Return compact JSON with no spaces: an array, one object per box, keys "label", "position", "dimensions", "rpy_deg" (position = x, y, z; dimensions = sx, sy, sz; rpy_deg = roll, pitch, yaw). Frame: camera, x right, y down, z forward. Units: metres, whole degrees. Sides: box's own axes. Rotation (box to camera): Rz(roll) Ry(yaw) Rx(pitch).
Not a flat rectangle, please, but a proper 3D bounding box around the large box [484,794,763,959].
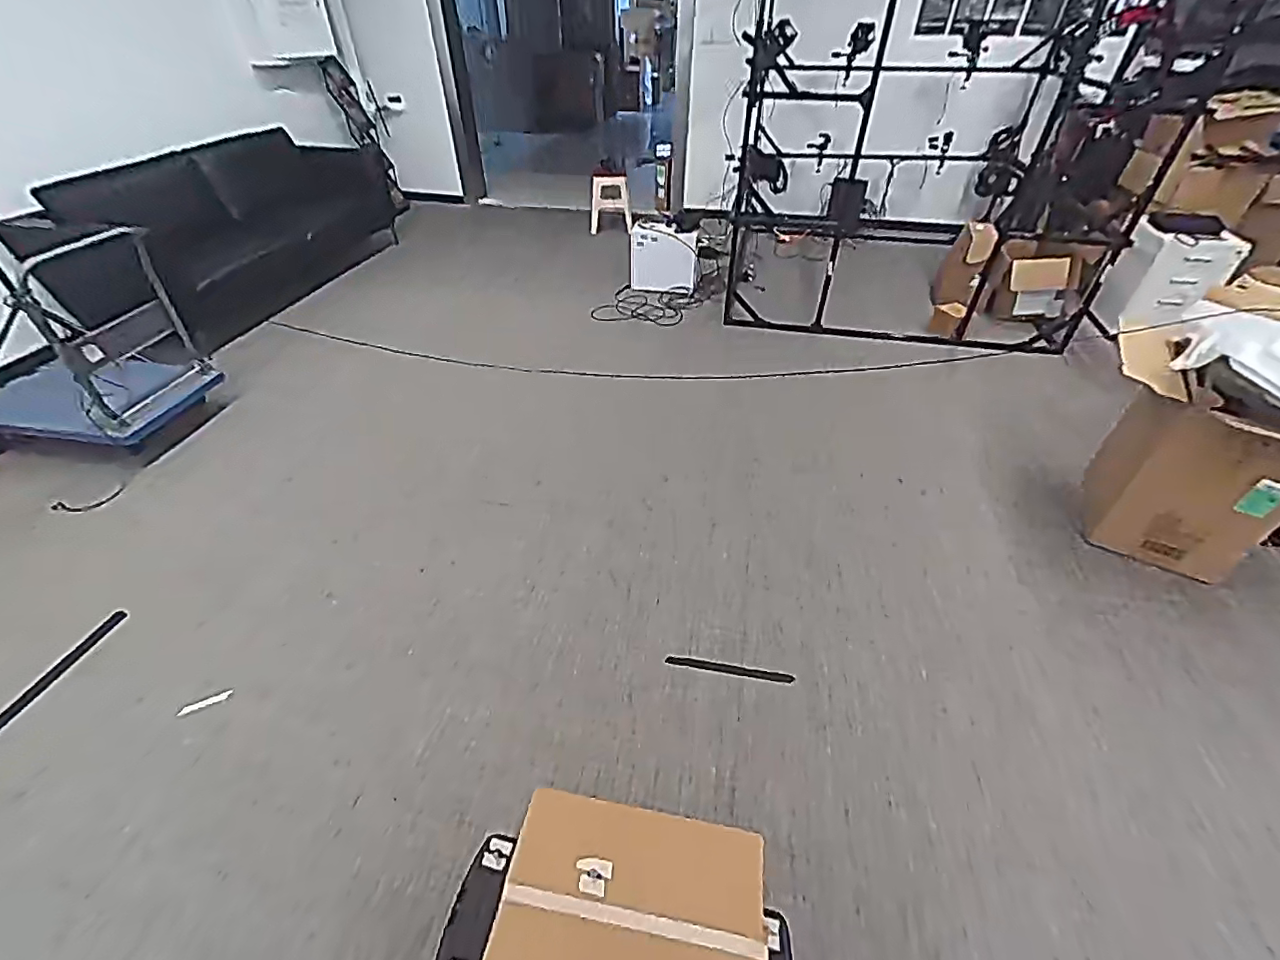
[{"label":"large box","position":[-0.014,0.780,0.905],"dimensions":[0.408,0.320,0.320],"rpy_deg":[7,40,9]}]
